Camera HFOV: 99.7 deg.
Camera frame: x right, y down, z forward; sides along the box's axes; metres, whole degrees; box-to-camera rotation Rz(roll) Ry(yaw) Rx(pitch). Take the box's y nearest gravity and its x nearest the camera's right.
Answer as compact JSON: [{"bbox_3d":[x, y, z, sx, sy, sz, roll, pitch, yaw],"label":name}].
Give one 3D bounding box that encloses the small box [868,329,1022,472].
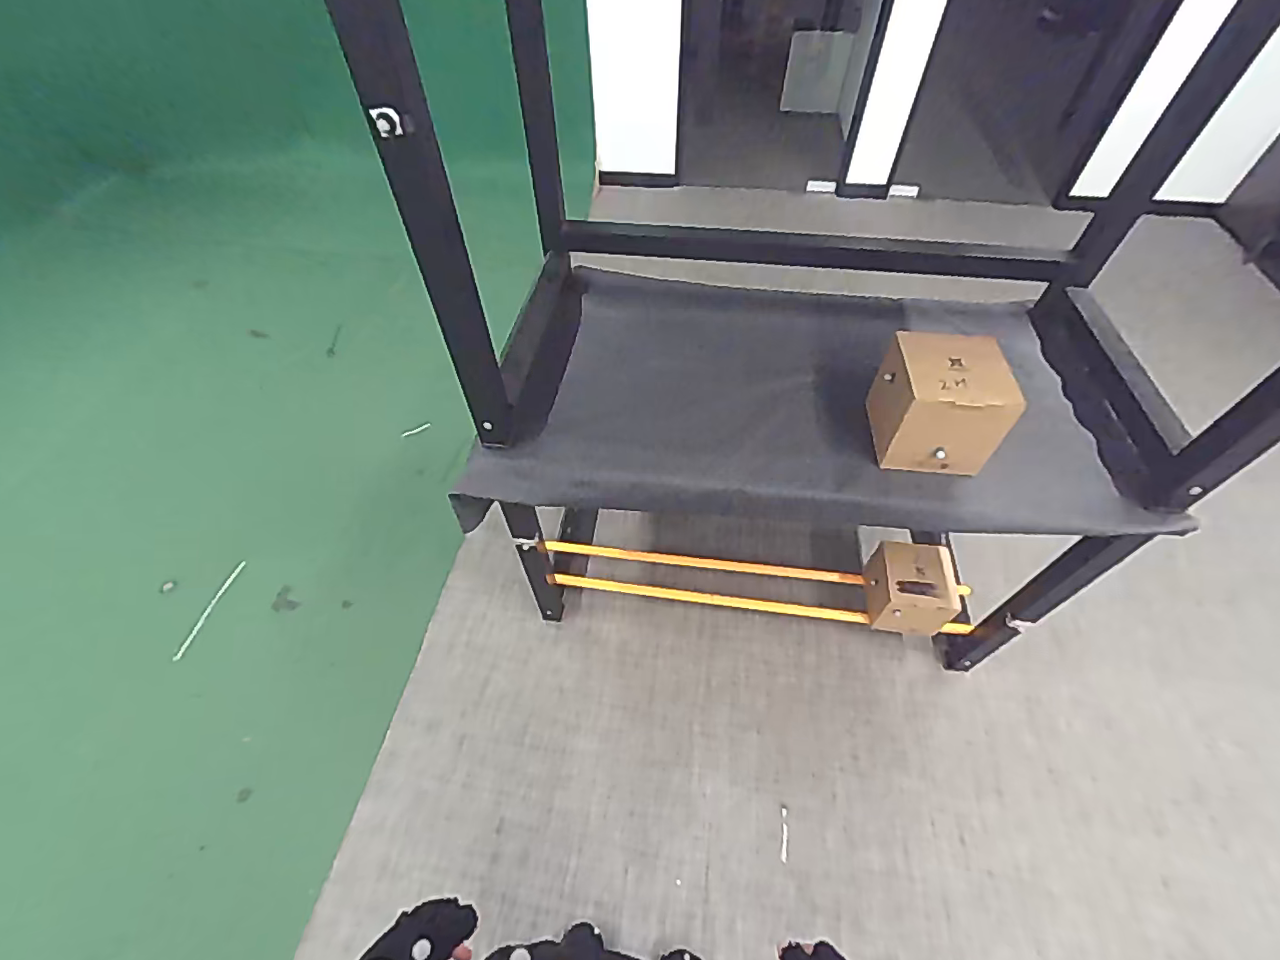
[{"bbox_3d":[0.512,-0.138,0.943,0.168,0.176,0.179,5,51,5],"label":"small box"}]
